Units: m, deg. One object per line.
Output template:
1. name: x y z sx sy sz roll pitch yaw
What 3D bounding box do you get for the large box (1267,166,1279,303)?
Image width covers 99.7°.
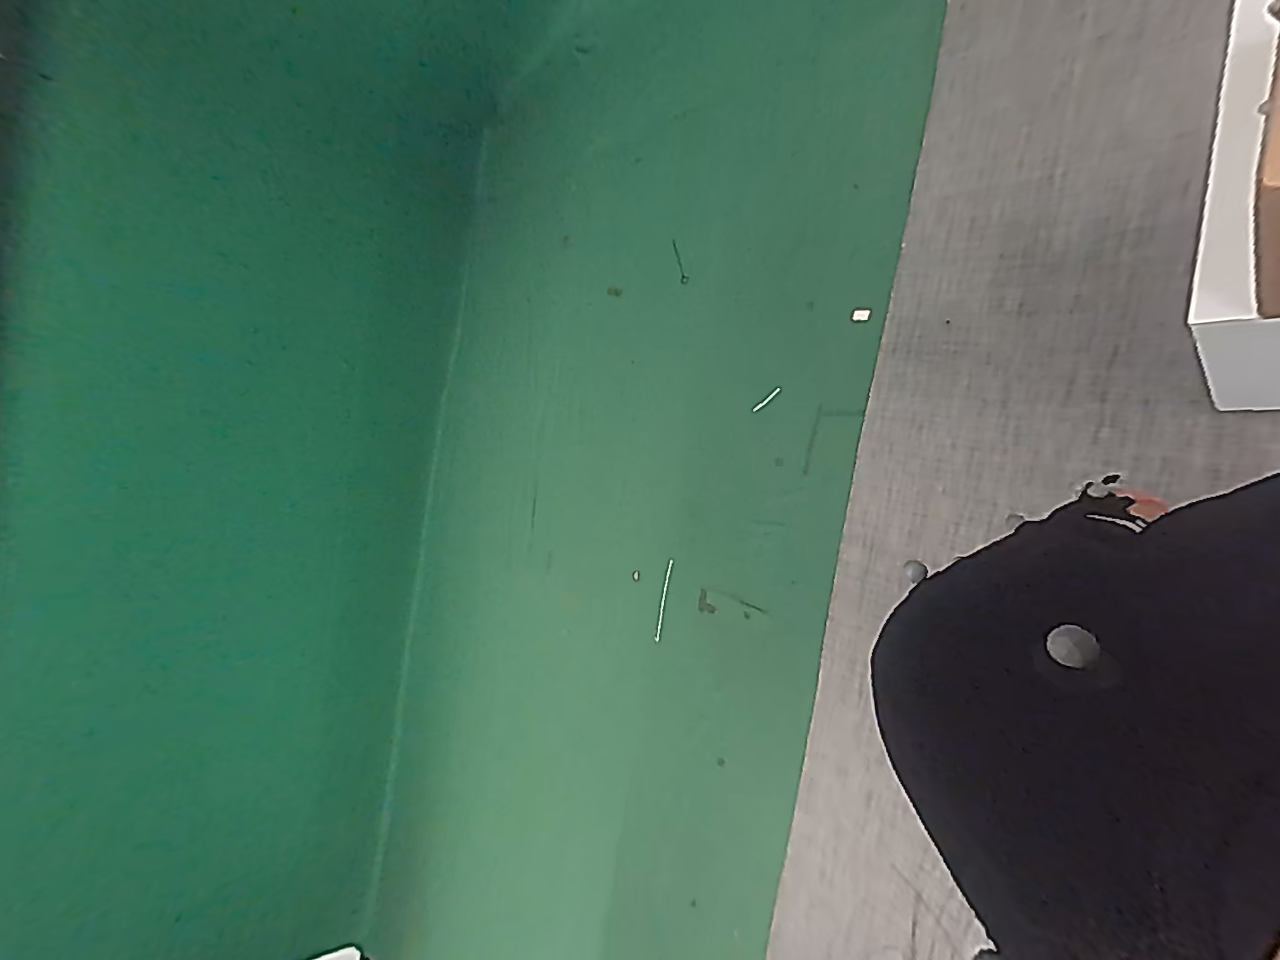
1. large box: 0.682 -0.322 0.307 0.408 0.320 0.320 9 93 48
